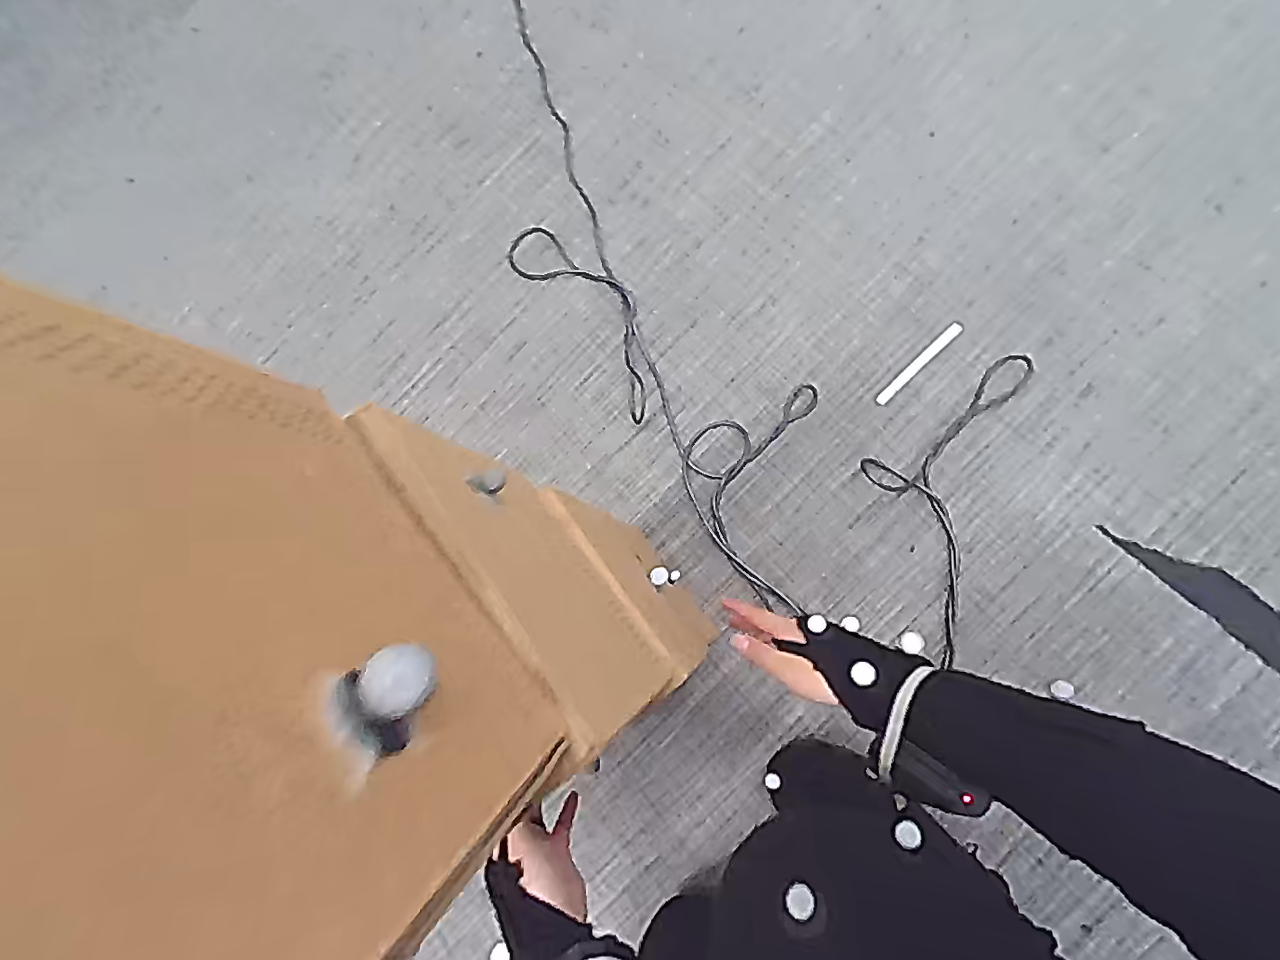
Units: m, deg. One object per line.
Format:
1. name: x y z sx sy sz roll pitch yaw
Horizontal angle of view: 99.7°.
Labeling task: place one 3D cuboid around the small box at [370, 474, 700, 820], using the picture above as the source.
1. small box: -0.068 0.124 0.443 0.179 0.176 0.168 -38 74 2
